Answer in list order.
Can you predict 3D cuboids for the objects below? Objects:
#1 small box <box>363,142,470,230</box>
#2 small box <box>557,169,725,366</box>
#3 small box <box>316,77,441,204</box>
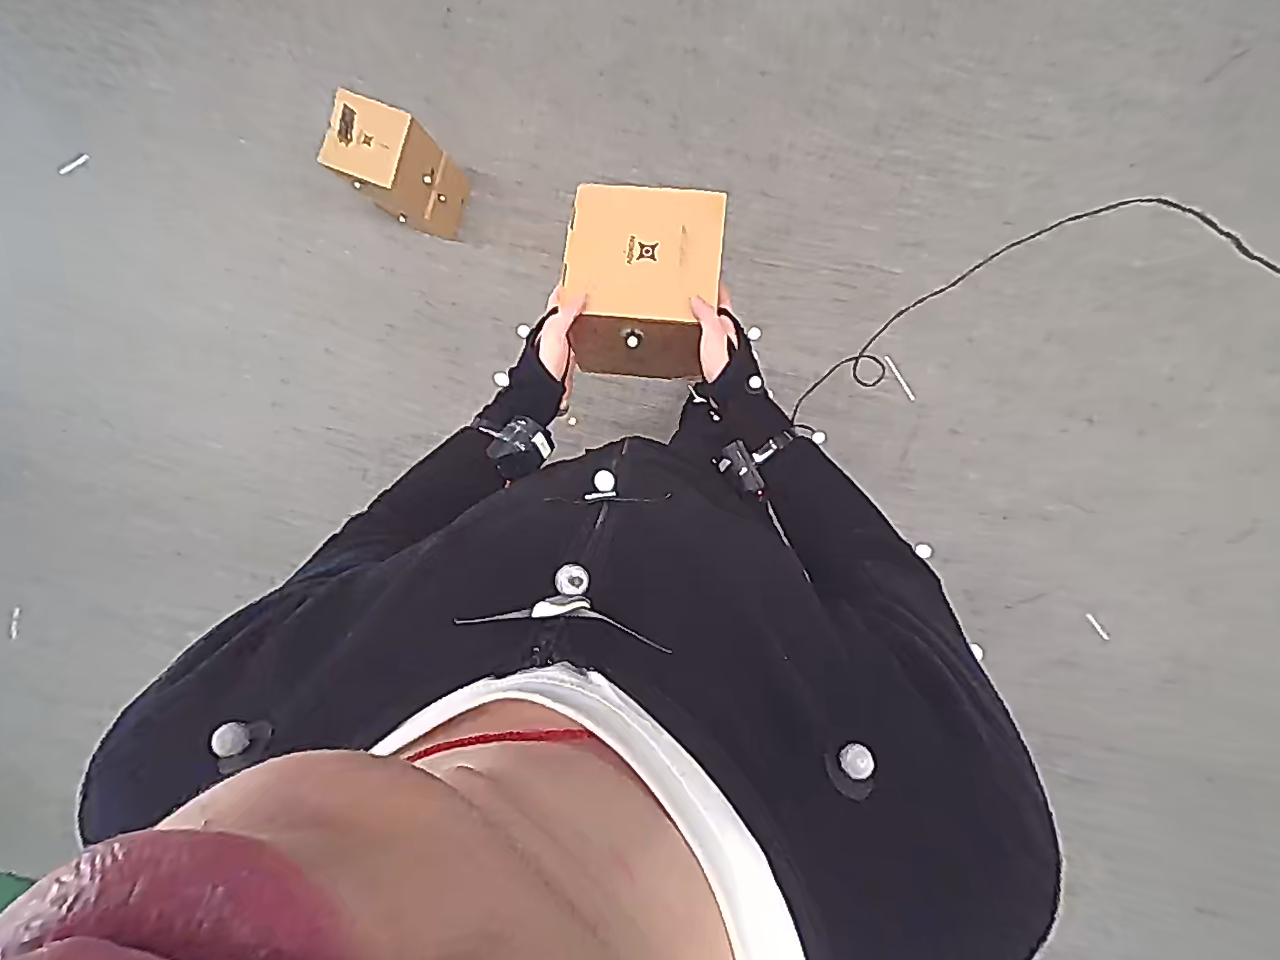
[{"bbox_3d":[-0.577,-0.781,1.412,0.179,0.176,0.168,20,96,2],"label":"small box"},{"bbox_3d":[0.005,-0.255,0.681,0.179,0.176,0.168,5,79,2],"label":"small box"},{"bbox_3d":[-0.595,-0.770,1.248,0.179,0.176,0.168,21,97,0],"label":"small box"}]
